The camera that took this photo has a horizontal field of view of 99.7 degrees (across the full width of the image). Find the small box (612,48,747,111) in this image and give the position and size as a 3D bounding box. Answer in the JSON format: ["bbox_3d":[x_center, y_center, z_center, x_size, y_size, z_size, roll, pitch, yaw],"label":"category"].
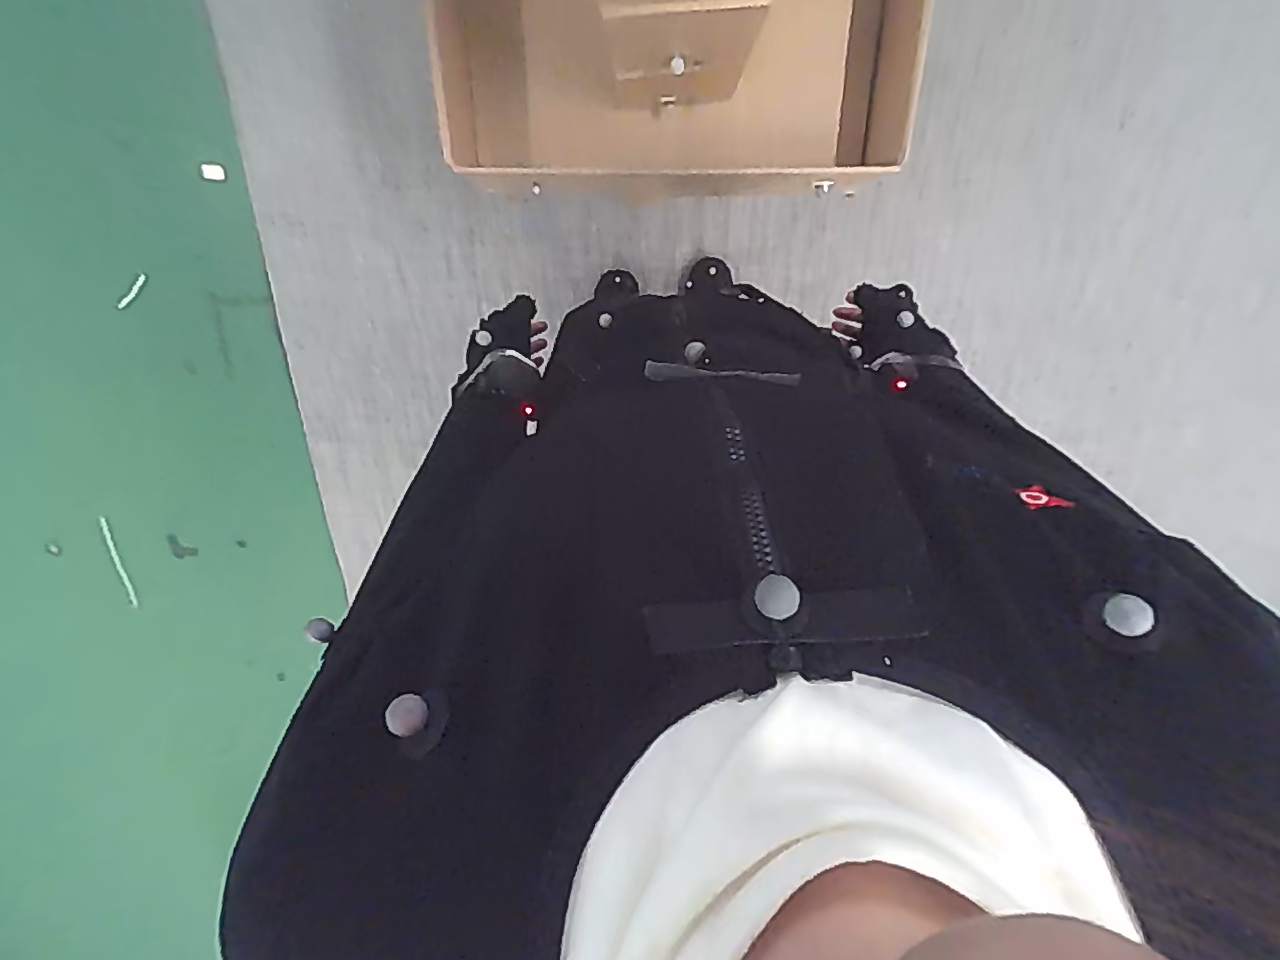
[{"bbox_3d":[0.045,-0.610,0.704,0.168,0.176,0.179,-3,113,3],"label":"small box"}]

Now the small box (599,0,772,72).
[{"bbox_3d":[0.043,-0.551,0.551,0.168,0.176,0.179,-1,112,3],"label":"small box"}]

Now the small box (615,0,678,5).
[{"bbox_3d":[0.037,-0.498,0.396,0.168,0.176,0.179,-1,111,4],"label":"small box"}]
